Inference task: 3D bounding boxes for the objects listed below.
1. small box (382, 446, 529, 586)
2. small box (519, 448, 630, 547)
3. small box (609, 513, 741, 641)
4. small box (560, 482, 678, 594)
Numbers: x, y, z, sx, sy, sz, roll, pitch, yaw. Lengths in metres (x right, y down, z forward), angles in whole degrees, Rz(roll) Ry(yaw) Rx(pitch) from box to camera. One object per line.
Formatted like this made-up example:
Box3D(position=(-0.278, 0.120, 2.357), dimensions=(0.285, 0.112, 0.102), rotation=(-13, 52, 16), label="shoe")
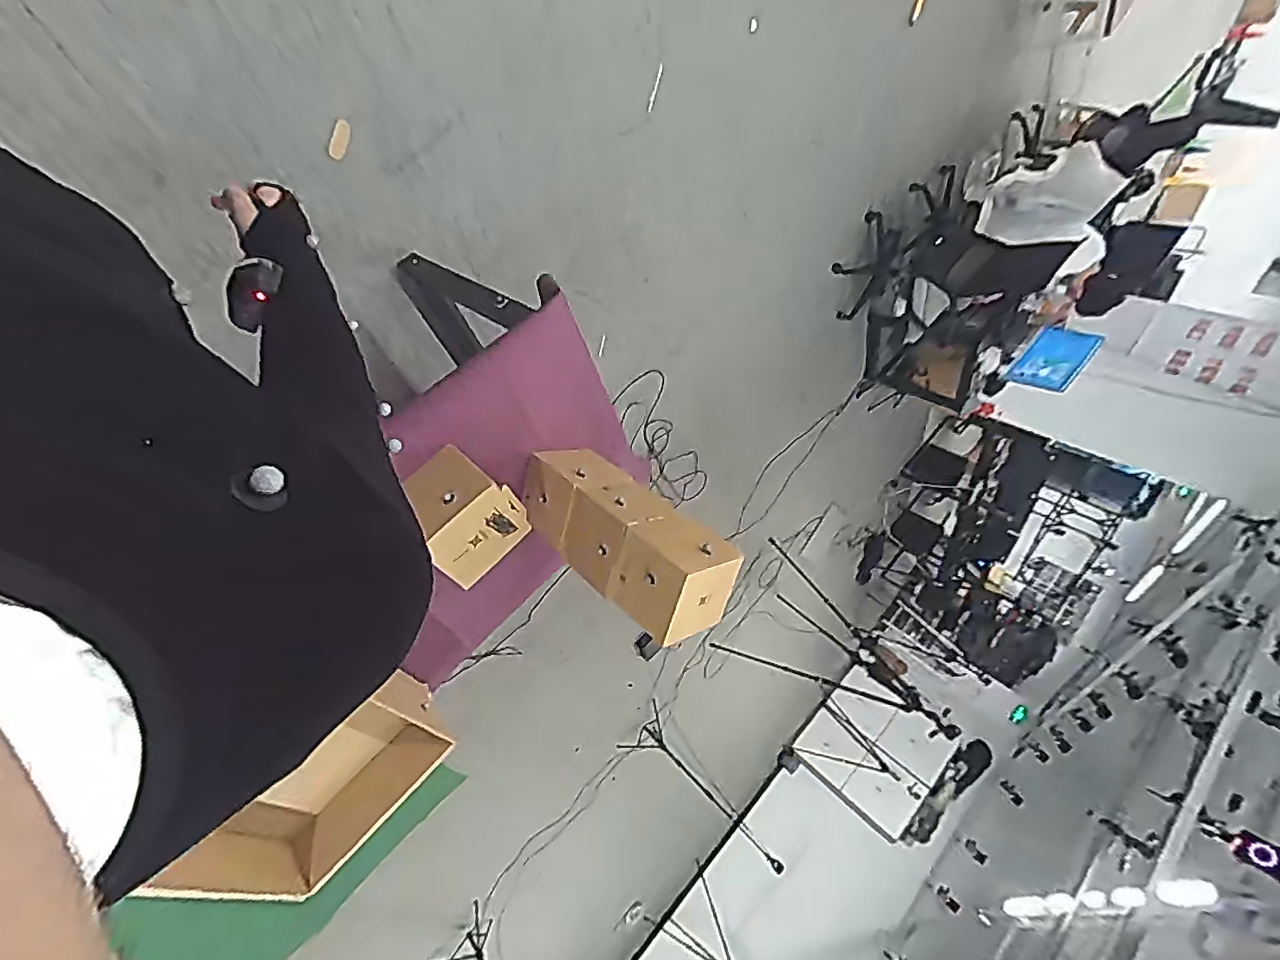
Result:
Box3D(position=(-0.356, 0.065, 1.048), dimensions=(0.179, 0.176, 0.168), rotation=(-45, 144, -15), label="small box")
Box3D(position=(-0.157, 0.033, 1.257), dimensions=(0.179, 0.176, 0.168), rotation=(-7, 123, -46), label="small box")
Box3D(position=(0.063, 0.182, 1.070), dimensions=(0.179, 0.176, 0.168), rotation=(-9, 122, -45), label="small box")
Box3D(position=(-0.050, 0.112, 1.163), dimensions=(0.168, 0.176, 0.179), rotation=(-6, 121, -45), label="small box")
